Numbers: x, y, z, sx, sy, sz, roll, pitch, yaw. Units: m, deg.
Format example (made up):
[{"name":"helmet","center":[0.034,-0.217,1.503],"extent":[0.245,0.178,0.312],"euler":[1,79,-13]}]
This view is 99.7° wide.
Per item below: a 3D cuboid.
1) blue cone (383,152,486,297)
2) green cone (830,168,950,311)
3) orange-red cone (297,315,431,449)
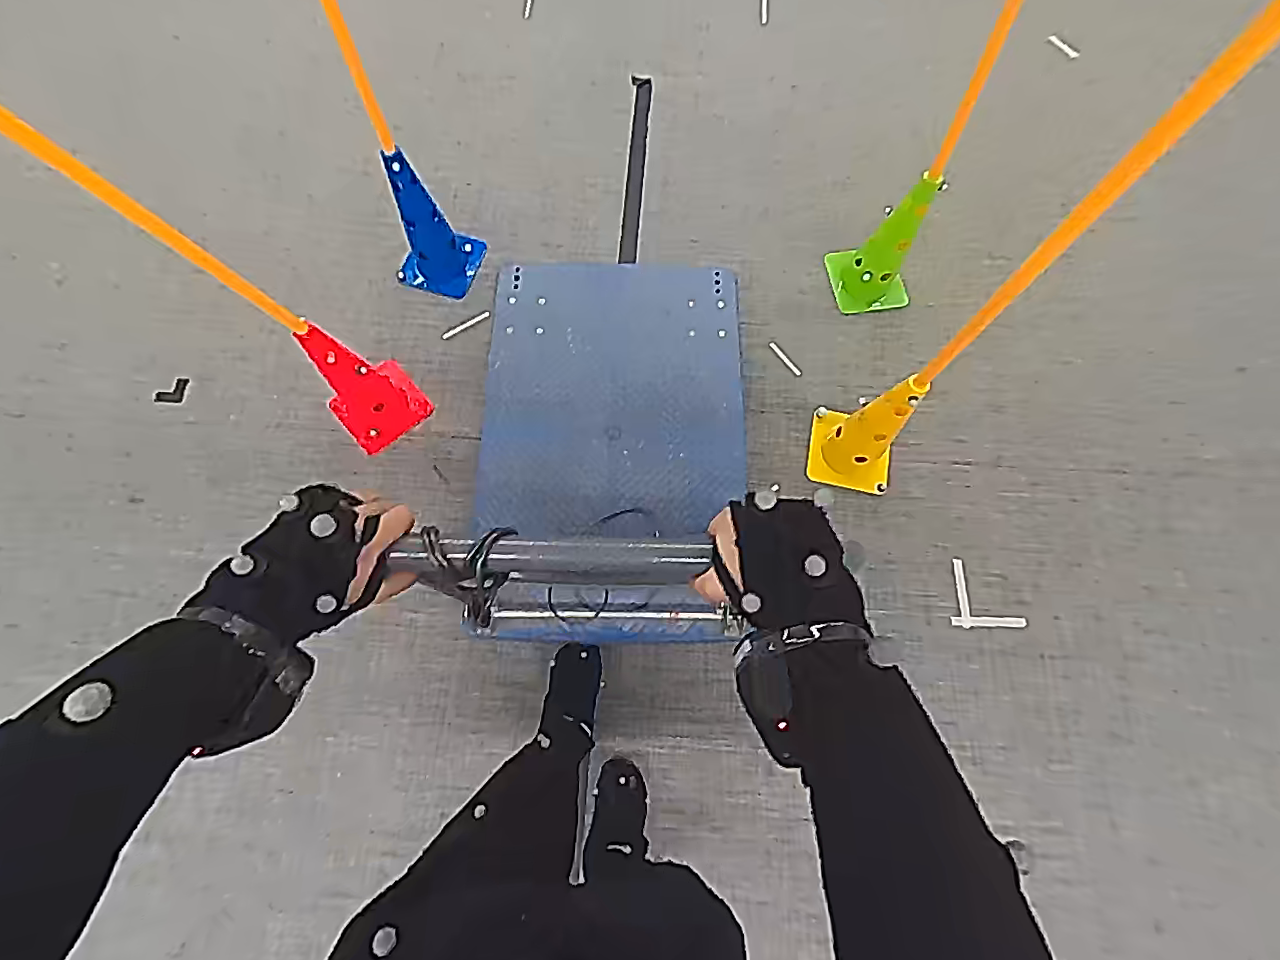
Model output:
[{"name":"blue cone","center":[-0.537,-0.652,1.346],"extent":[0.193,0.380,0.192],"euler":[18,74,5]},{"name":"green cone","center":[0.644,-0.615,1.341],"extent":[0.200,0.368,0.202],"euler":[-9,74,-4]},{"name":"orange-red cone","center":[-0.645,-0.248,1.200],"extent":[0.199,0.360,0.198],"euler":[-39,78,-14]}]
